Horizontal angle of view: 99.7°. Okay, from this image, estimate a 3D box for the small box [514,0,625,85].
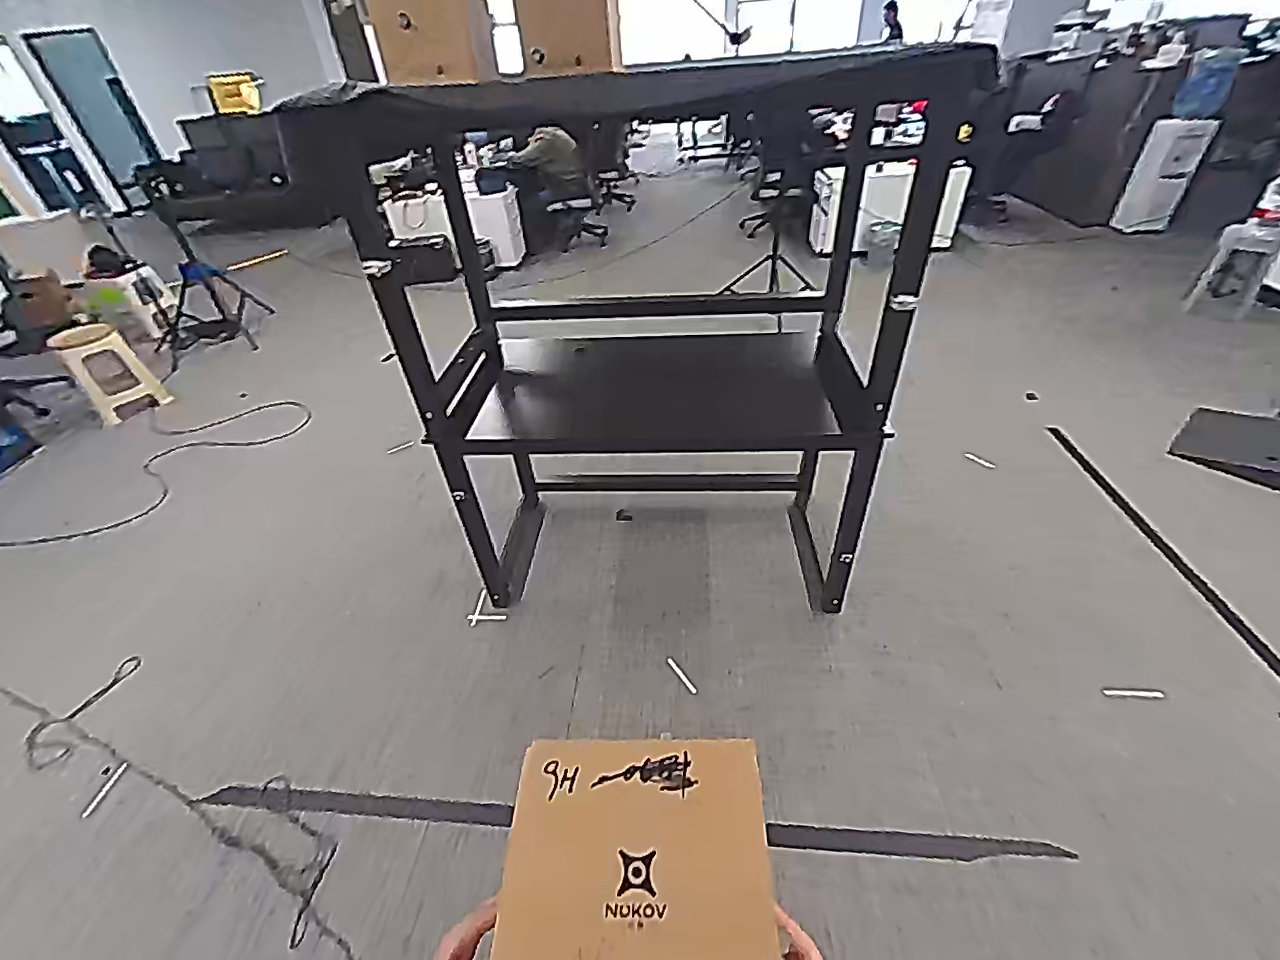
[{"bbox_3d":[-0.121,-0.830,0.979,0.168,0.176,0.179,0,36,7],"label":"small box"}]

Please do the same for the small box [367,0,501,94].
[{"bbox_3d":[-0.365,-0.812,0.983,0.168,0.176,0.179,0,37,4],"label":"small box"}]

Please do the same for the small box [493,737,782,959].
[{"bbox_3d":[0.006,0.301,0.380,0.168,0.176,0.179,-2,45,4],"label":"small box"}]
